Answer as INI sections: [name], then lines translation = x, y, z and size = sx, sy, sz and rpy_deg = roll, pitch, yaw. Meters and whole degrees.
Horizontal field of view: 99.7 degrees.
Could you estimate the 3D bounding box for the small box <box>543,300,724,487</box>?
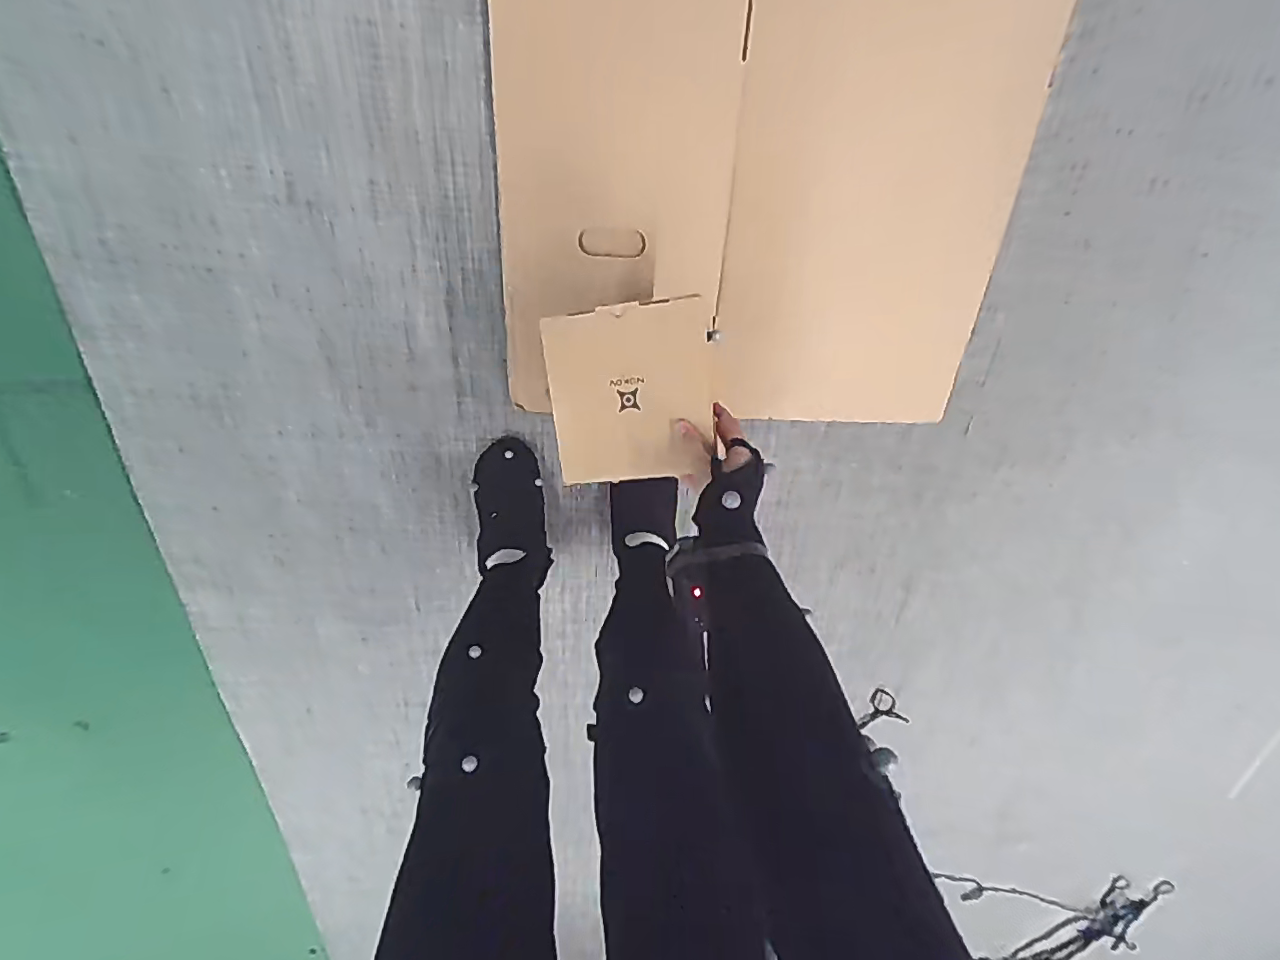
[small box]
translation = 0.006, -0.100, 0.618
size = 0.168, 0.176, 0.179
rpy_deg = -5, 102, 11
